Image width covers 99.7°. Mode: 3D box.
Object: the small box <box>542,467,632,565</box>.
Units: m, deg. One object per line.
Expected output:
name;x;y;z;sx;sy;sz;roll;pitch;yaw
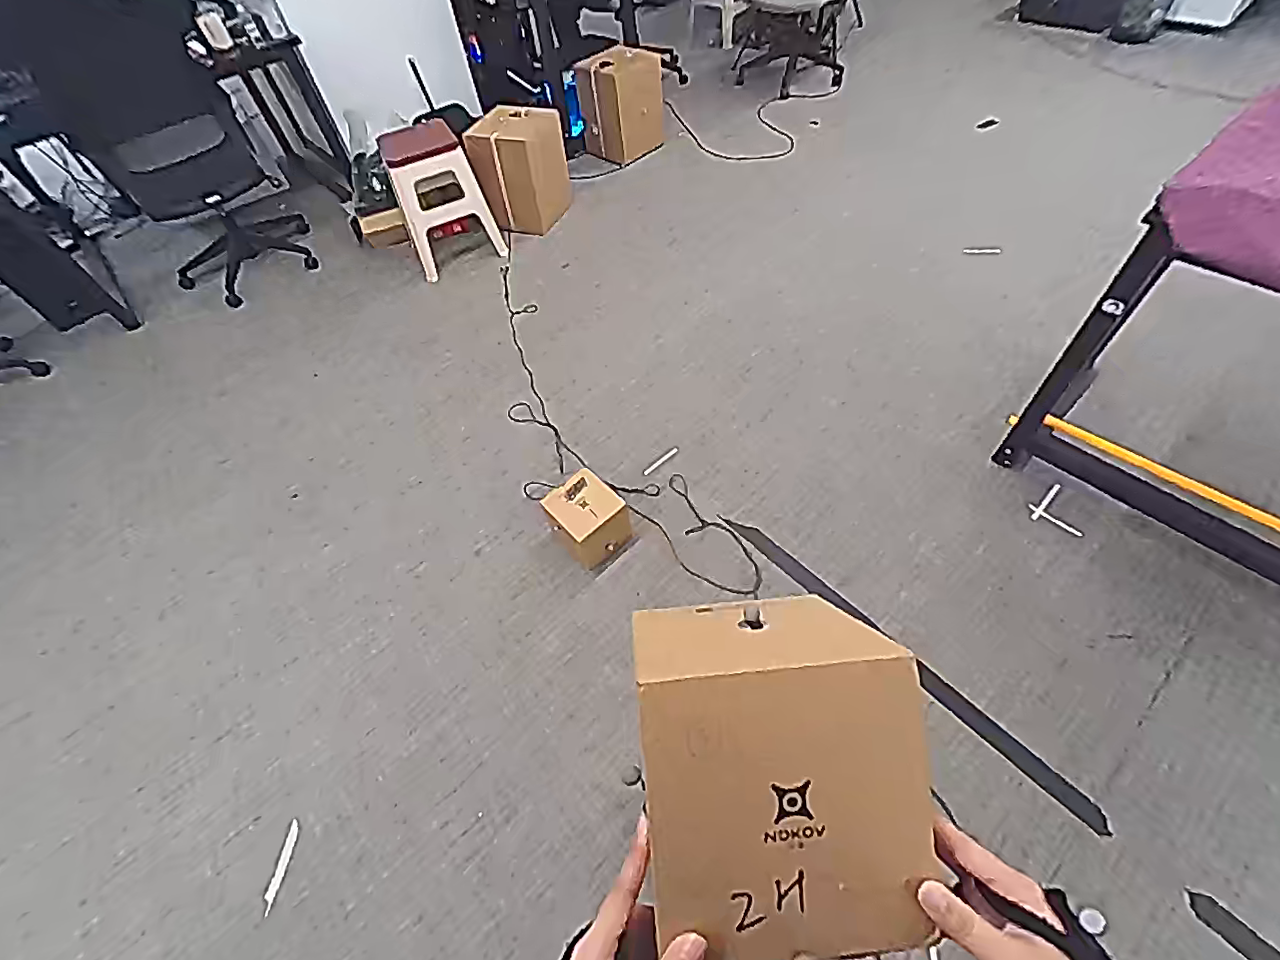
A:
small box;-0.141;0.104;1.492;0.168;0.176;0.179;-39;60;-20

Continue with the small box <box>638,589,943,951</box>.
small box;0.086;0.179;0.392;0.168;0.176;0.179;-4;89;-1
